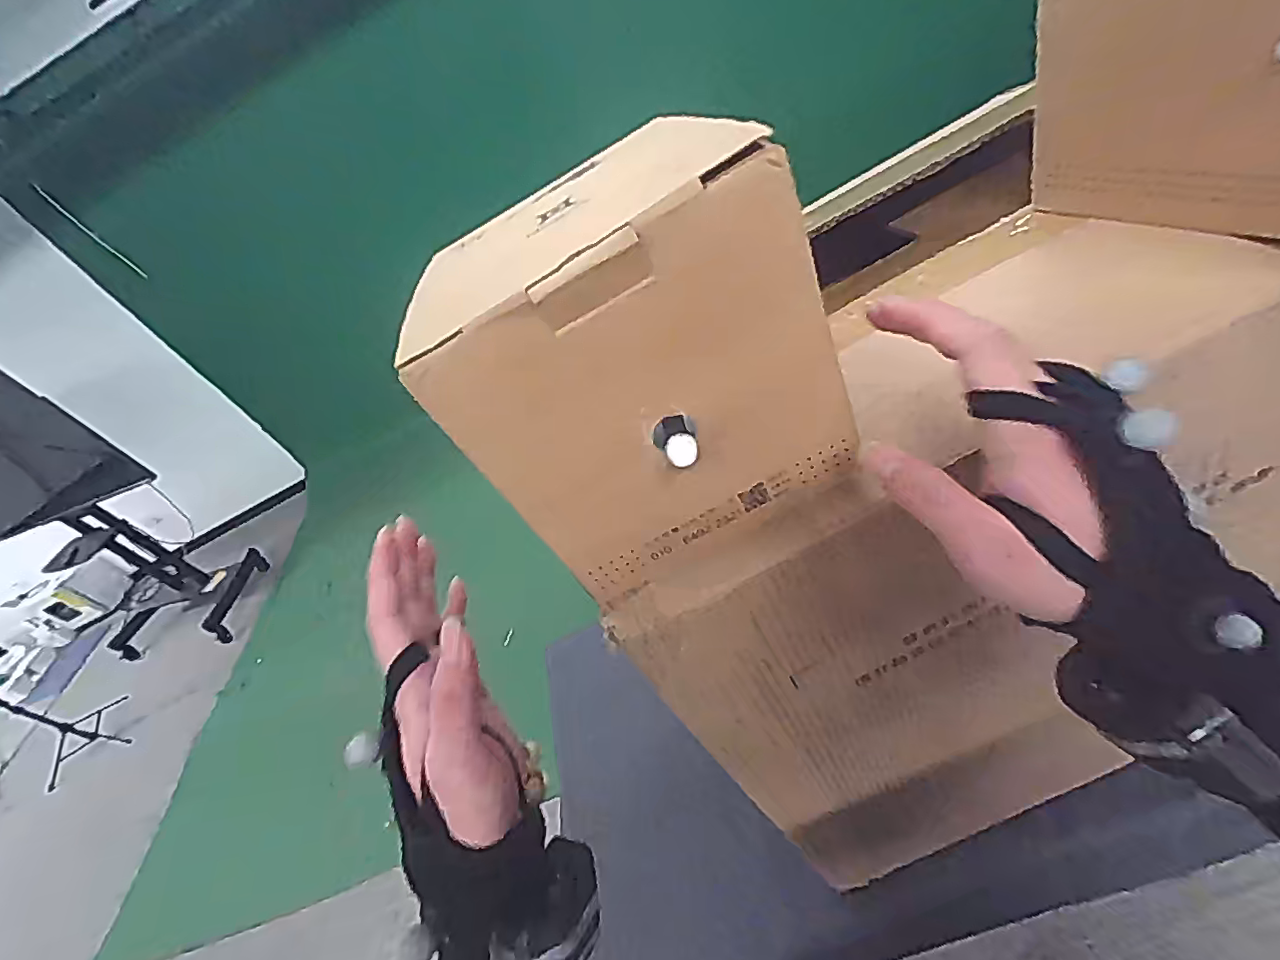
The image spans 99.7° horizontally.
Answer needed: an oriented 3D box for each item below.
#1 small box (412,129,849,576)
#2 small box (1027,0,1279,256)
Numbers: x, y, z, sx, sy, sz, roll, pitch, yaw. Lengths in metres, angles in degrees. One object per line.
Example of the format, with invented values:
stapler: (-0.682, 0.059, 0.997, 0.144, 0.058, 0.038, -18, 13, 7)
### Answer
small box: (-0.002, -0.068, 0.316, 0.168, 0.176, 0.179, -28, 38, 5)
small box: (0.341, -0.238, 0.276, 0.168, 0.176, 0.179, -31, 36, -3)
